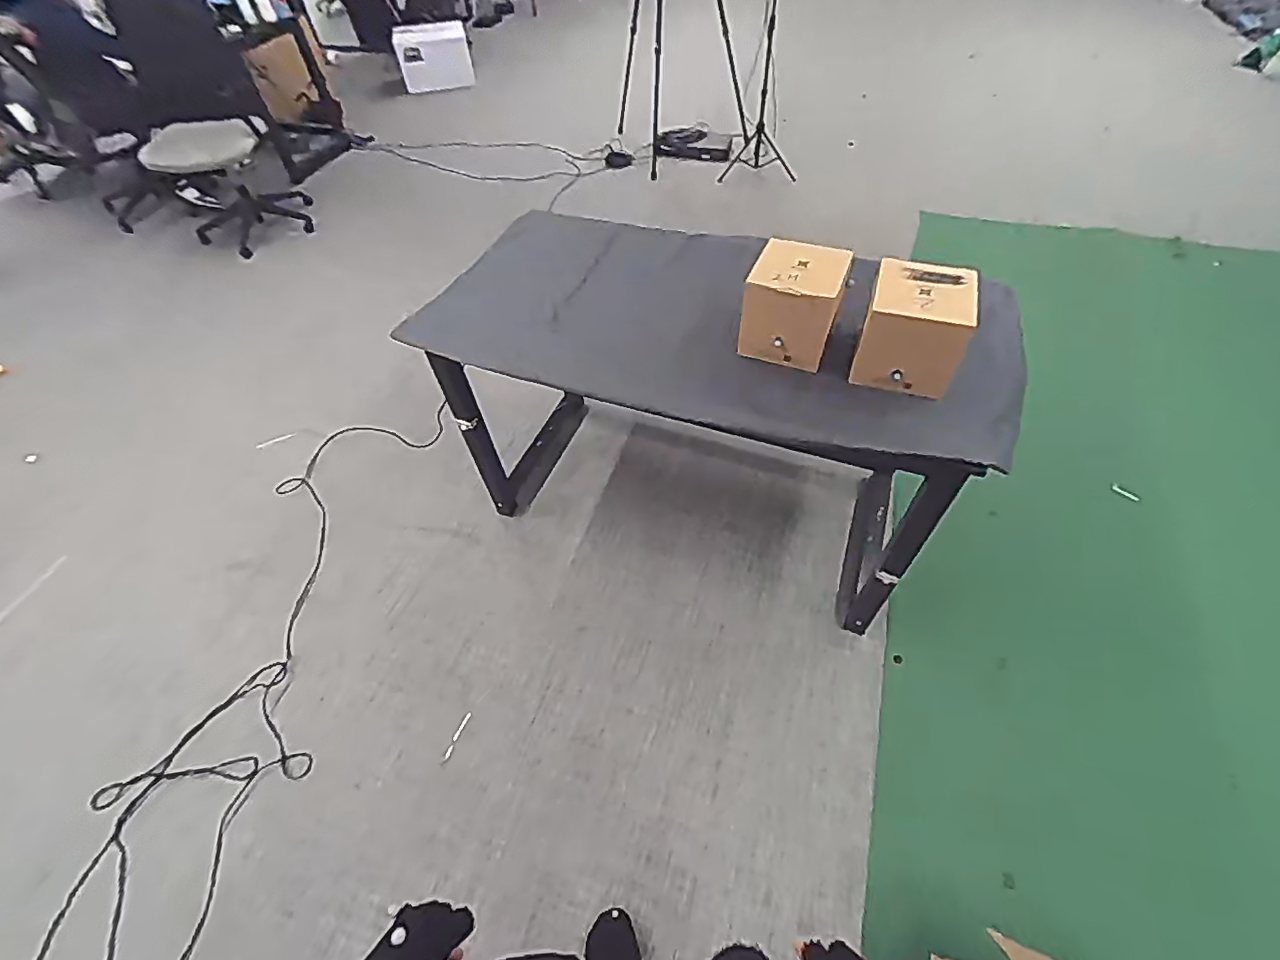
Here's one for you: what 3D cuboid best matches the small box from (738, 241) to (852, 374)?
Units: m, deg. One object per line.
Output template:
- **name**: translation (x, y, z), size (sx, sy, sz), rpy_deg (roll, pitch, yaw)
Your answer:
- **small box**: translation (0.303, -0.344, 1.079), size (0.168, 0.176, 0.179), rpy_deg (18, 55, 17)
